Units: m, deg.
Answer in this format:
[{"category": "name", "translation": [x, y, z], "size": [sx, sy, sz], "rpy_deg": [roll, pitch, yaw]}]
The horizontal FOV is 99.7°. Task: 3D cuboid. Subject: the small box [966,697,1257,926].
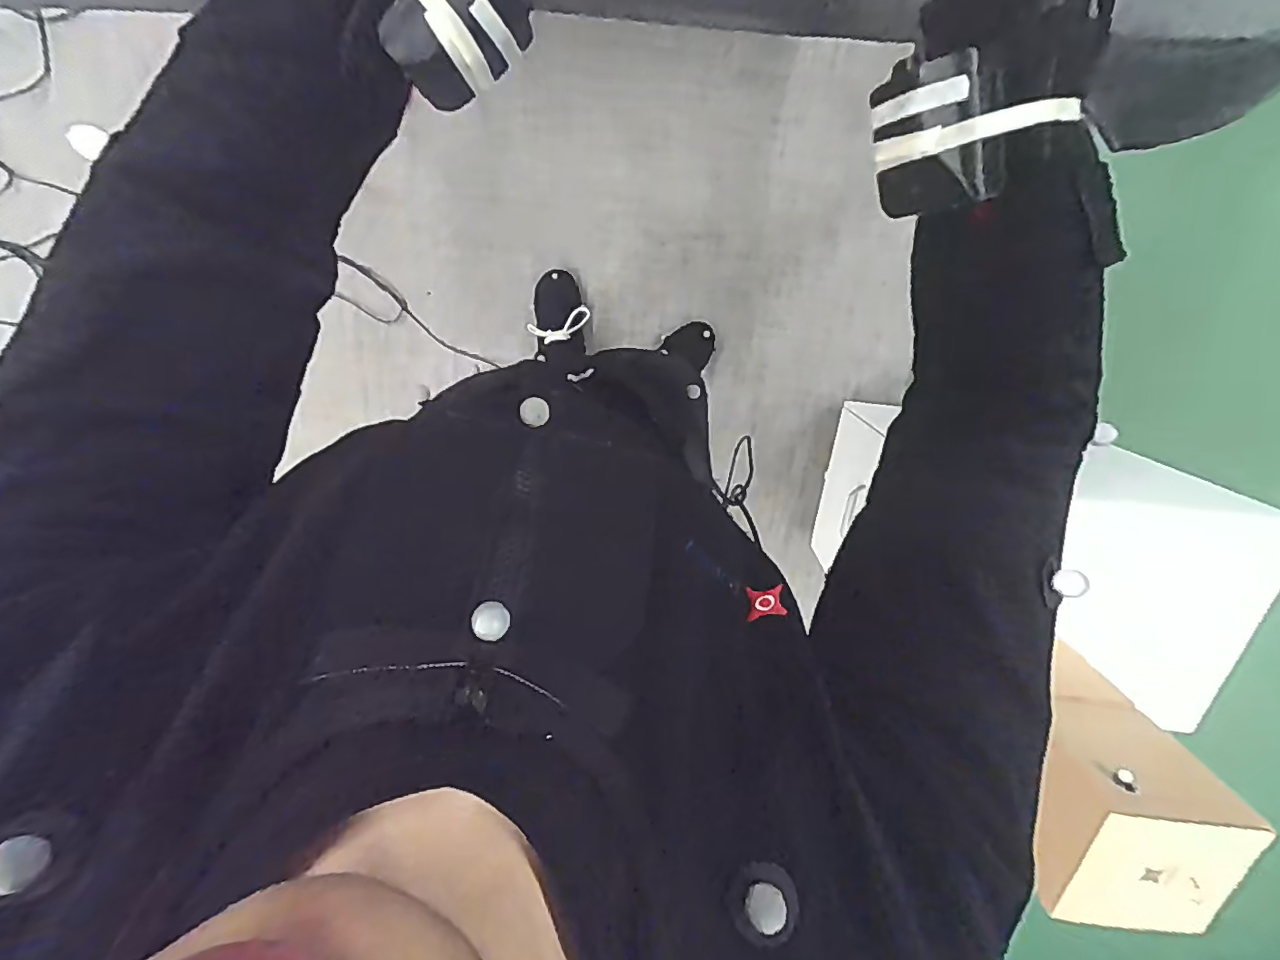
[{"category": "small box", "translation": [0.541, 0.389, 0.656], "size": [0.179, 0.176, 0.168], "rpy_deg": [7, 111, -2]}]
